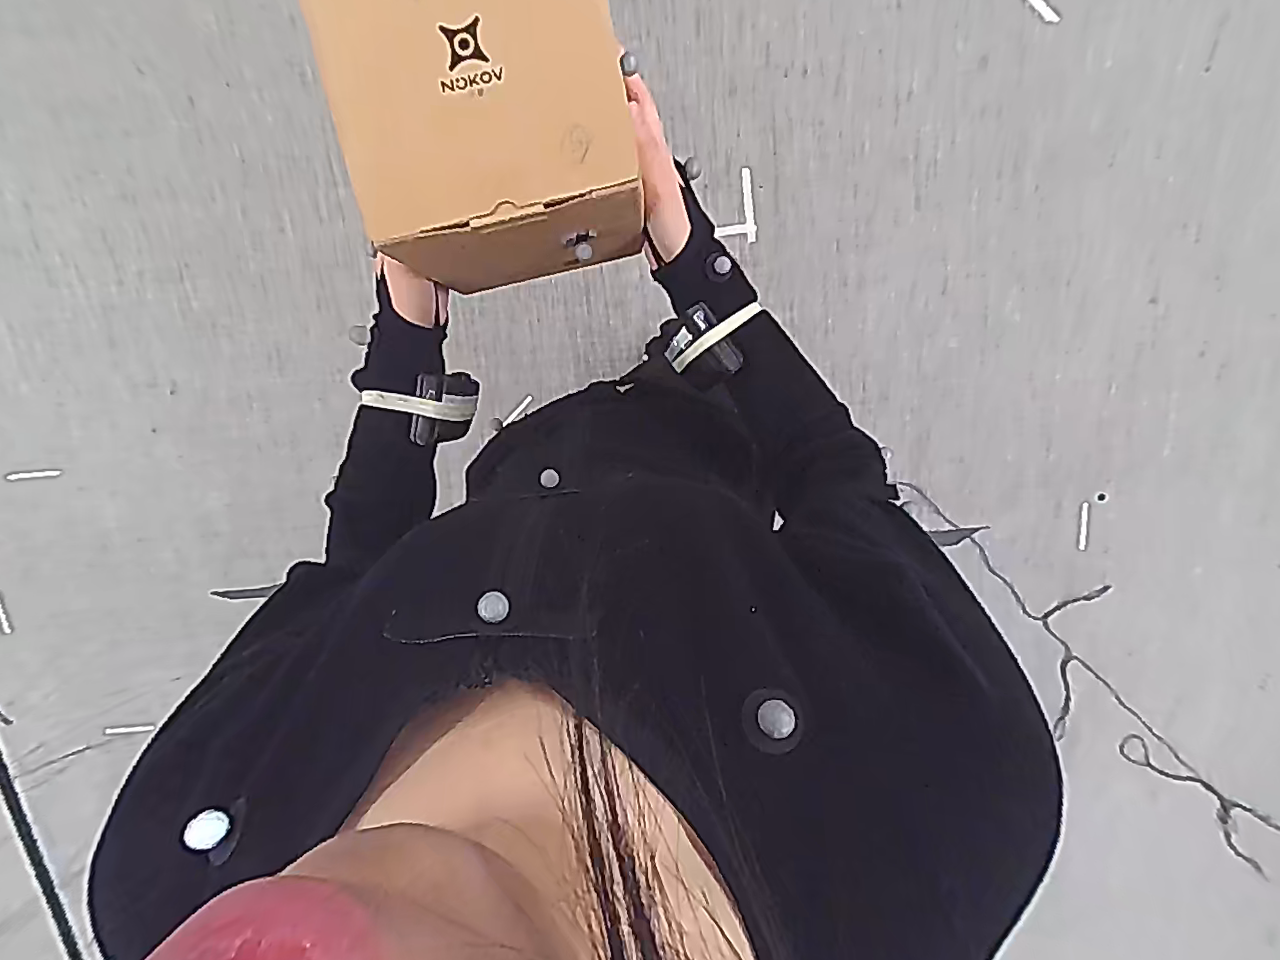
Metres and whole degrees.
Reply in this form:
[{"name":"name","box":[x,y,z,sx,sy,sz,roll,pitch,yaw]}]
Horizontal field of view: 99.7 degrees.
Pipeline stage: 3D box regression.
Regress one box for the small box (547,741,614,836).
[{"name":"small box","box":[-0.168,0.900,1.587,0.168,0.176,0.179,-6,100,1]}]
